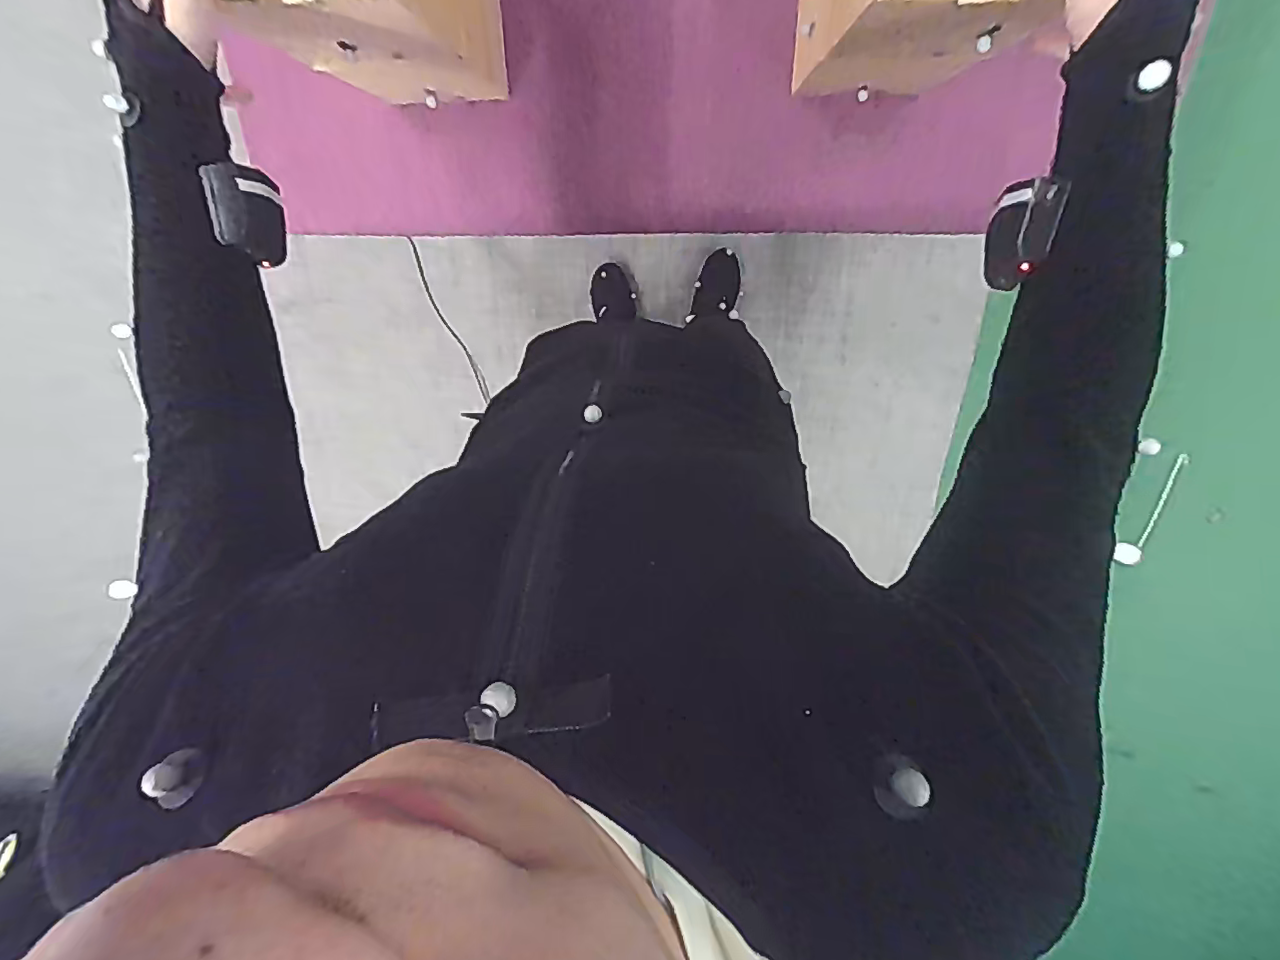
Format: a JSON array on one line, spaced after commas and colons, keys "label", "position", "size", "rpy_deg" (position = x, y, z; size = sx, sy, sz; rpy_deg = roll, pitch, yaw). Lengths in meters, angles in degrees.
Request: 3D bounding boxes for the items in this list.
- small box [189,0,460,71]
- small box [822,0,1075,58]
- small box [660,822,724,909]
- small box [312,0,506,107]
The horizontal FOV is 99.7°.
[{"label": "small box", "position": [-0.272, -0.482, 0.461], "size": [0.168, 0.176, 0.179], "rpy_deg": [0, 114, 4]}, {"label": "small box", "position": [0.251, -0.459, 0.427], "size": [0.168, 0.176, 0.179], "rpy_deg": [1, 114, 4]}, {"label": "small box", "position": [0.170, 1.274, 1.793], "size": [0.179, 0.176, 0.168], "rpy_deg": [11, 114, -1]}, {"label": "small box", "position": [-0.261, -0.546, 0.610], "size": [0.168, 0.176, 0.179], "rpy_deg": [1, 114, 5]}]
